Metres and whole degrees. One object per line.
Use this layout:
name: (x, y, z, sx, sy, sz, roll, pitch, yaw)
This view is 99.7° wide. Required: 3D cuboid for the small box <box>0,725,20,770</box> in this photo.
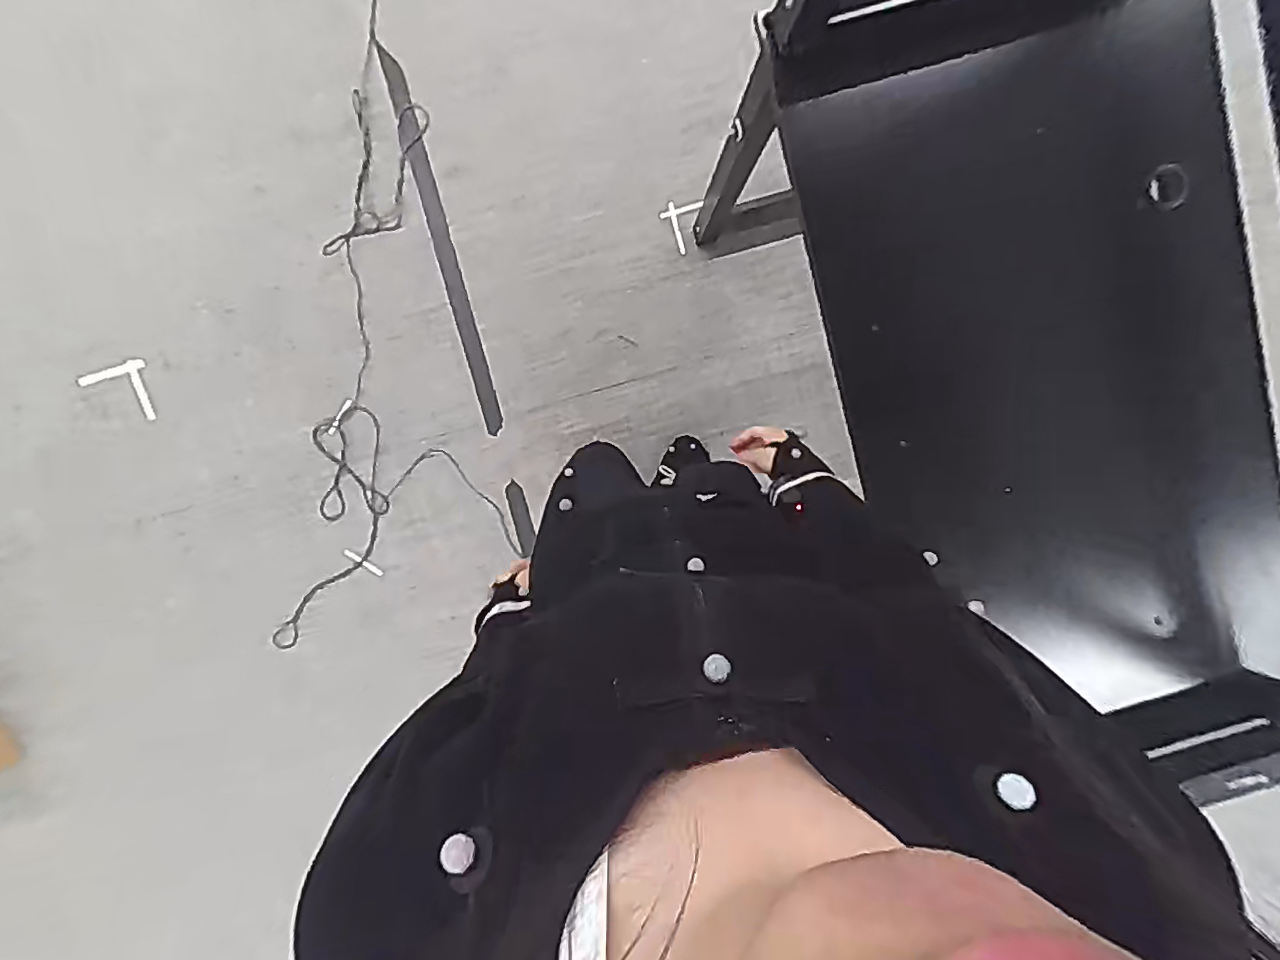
small box: (-1.794, 0.727, 1.392, 0.168, 0.176, 0.179, -28, 97, 0)
